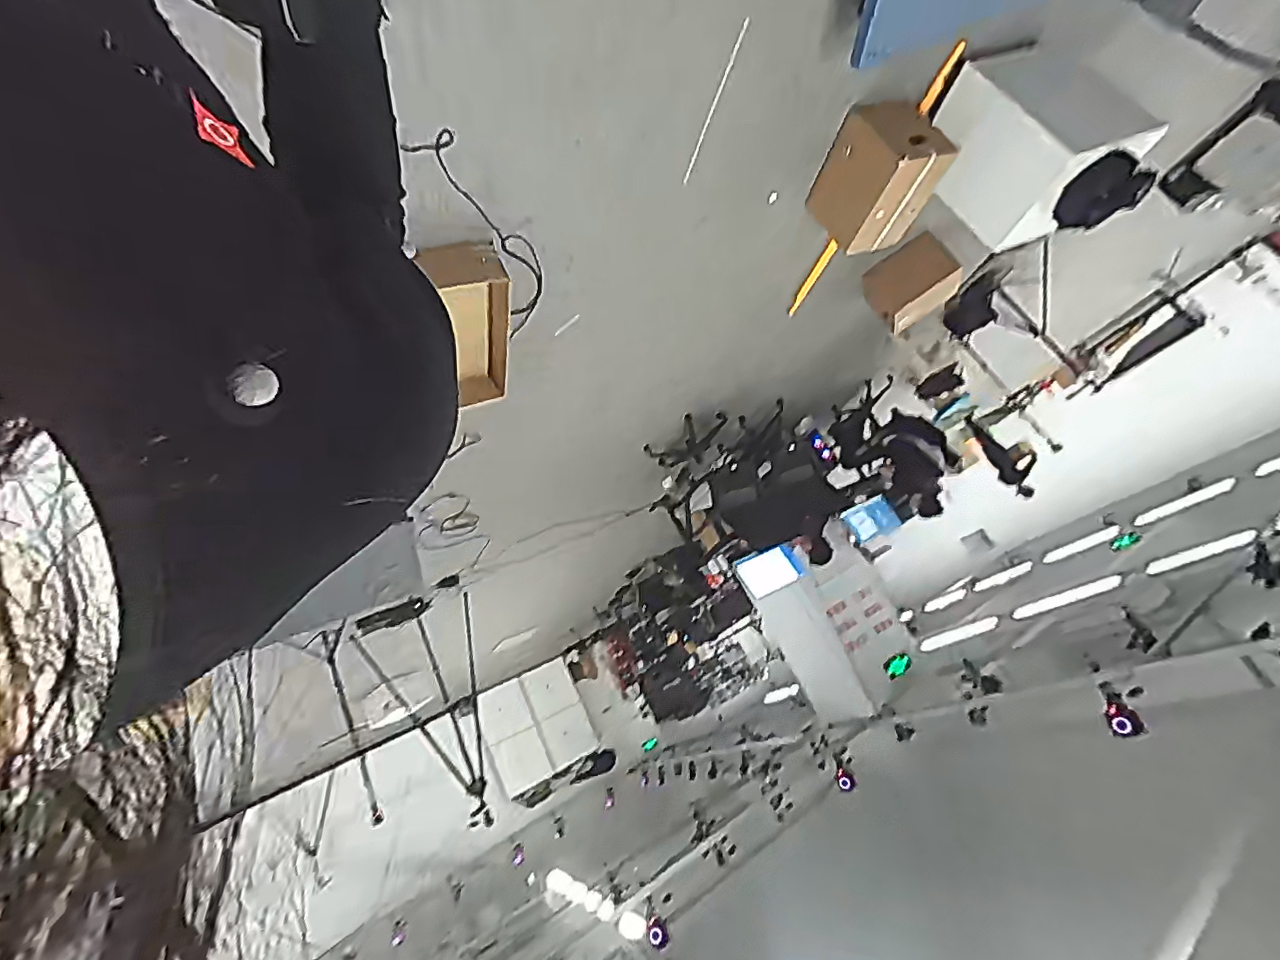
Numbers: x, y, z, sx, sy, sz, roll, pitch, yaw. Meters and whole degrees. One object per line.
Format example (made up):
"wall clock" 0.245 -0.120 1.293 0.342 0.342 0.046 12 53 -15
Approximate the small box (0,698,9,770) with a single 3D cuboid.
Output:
"small box" -1.437 0.528 1.087 0.168 0.176 0.179 -18 158 -32
